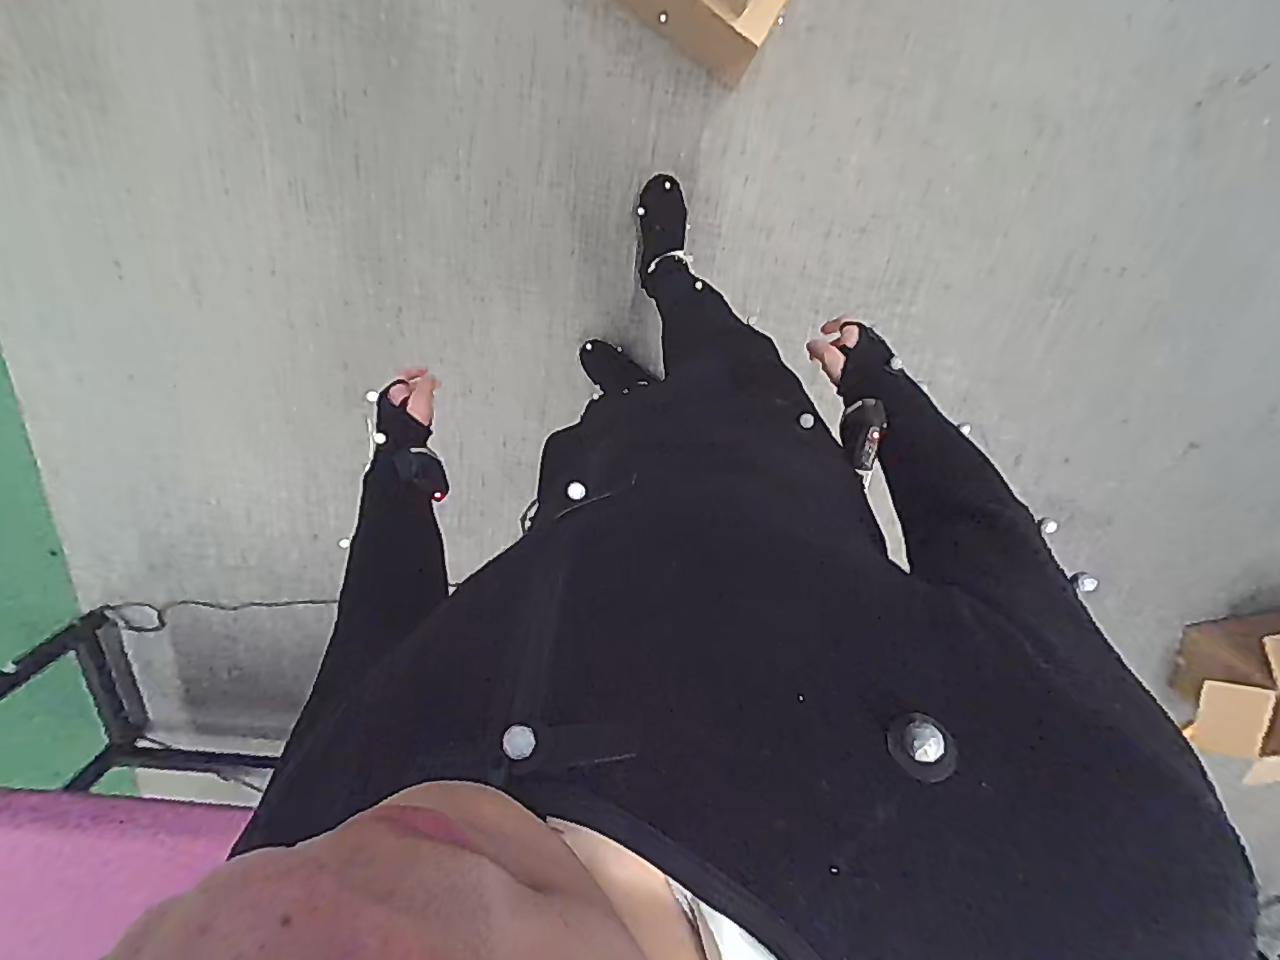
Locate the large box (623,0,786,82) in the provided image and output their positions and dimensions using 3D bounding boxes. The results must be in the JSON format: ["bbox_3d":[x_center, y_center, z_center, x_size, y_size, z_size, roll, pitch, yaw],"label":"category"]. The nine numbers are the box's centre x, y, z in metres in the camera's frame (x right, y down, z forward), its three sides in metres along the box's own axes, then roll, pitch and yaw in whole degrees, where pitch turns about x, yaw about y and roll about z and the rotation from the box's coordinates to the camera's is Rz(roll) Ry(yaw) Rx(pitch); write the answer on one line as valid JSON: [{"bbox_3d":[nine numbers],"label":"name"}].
[{"bbox_3d":[0.133,-1.082,1.047,0.408,0.320,0.320,29,109,-12],"label":"large box"}]
